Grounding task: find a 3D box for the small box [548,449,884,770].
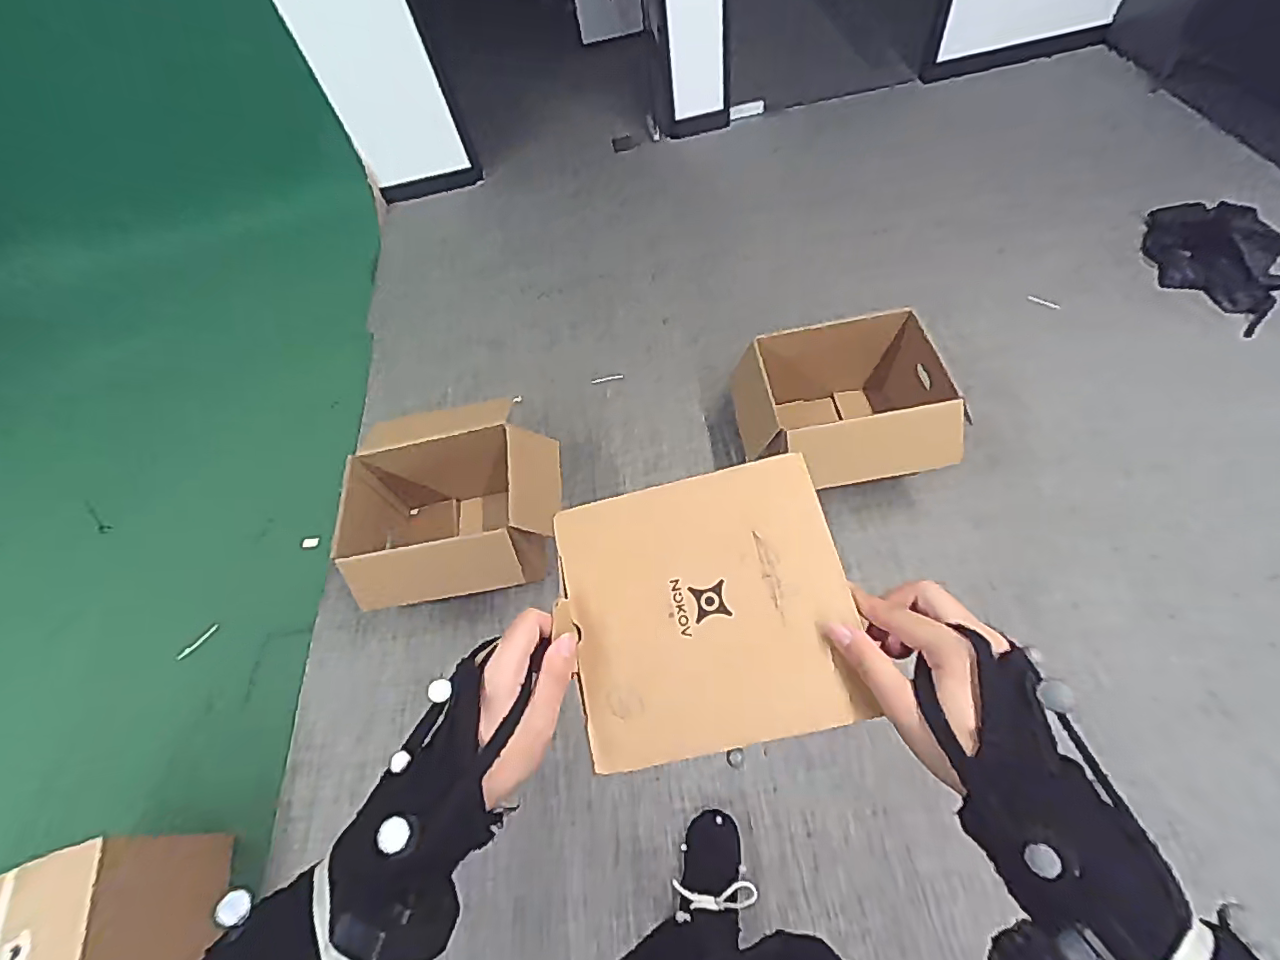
[{"bbox_3d":[0.048,0.101,0.406,0.179,0.176,0.168,-14,69,3],"label":"small box"}]
